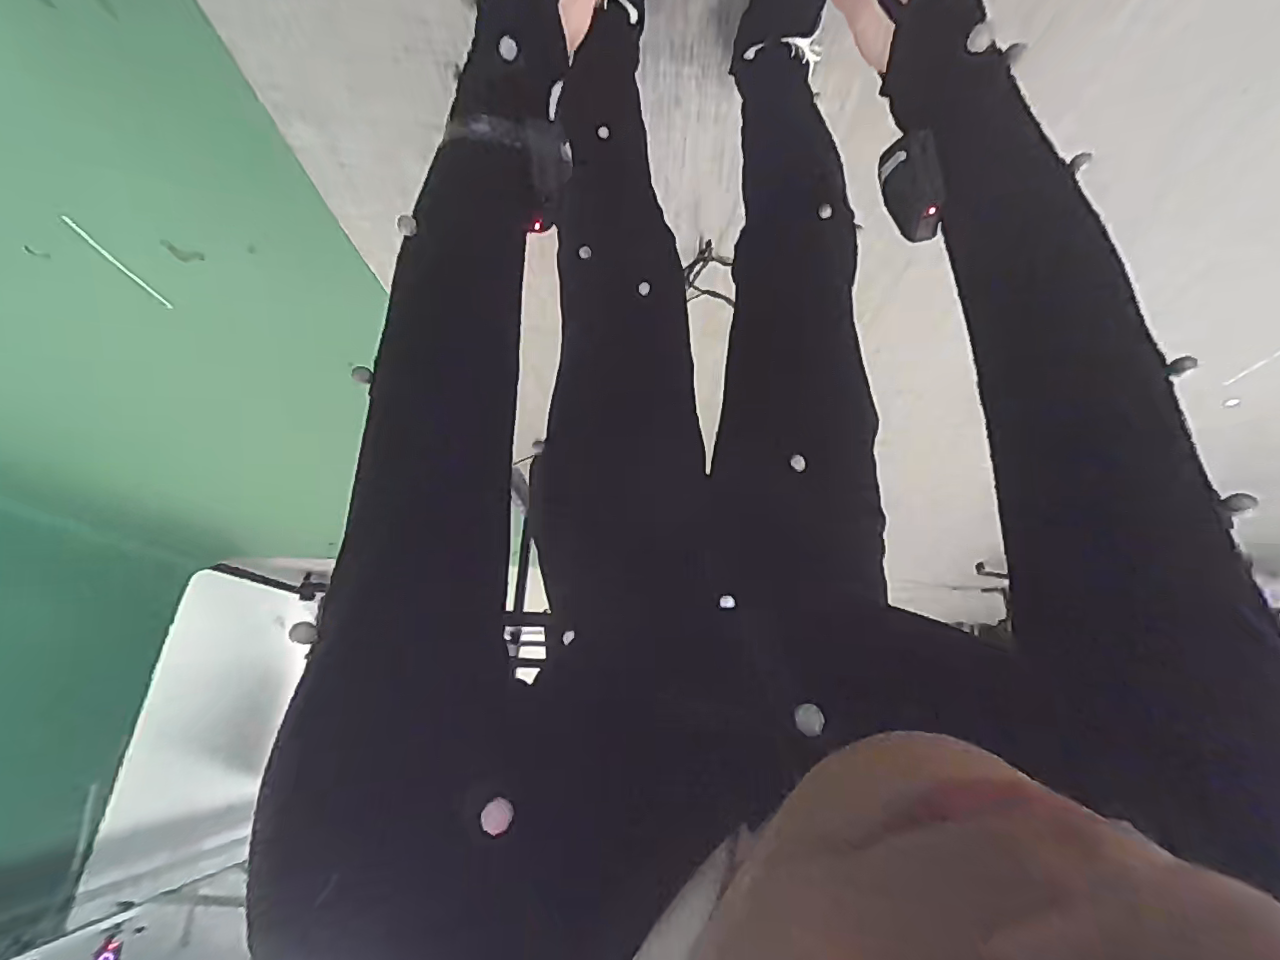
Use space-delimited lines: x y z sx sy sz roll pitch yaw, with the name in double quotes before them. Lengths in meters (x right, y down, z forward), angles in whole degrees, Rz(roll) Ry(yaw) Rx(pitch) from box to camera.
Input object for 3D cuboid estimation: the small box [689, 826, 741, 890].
"small box" 0.283 1.443 2.071 0.179 0.176 0.168 2 158 -1
